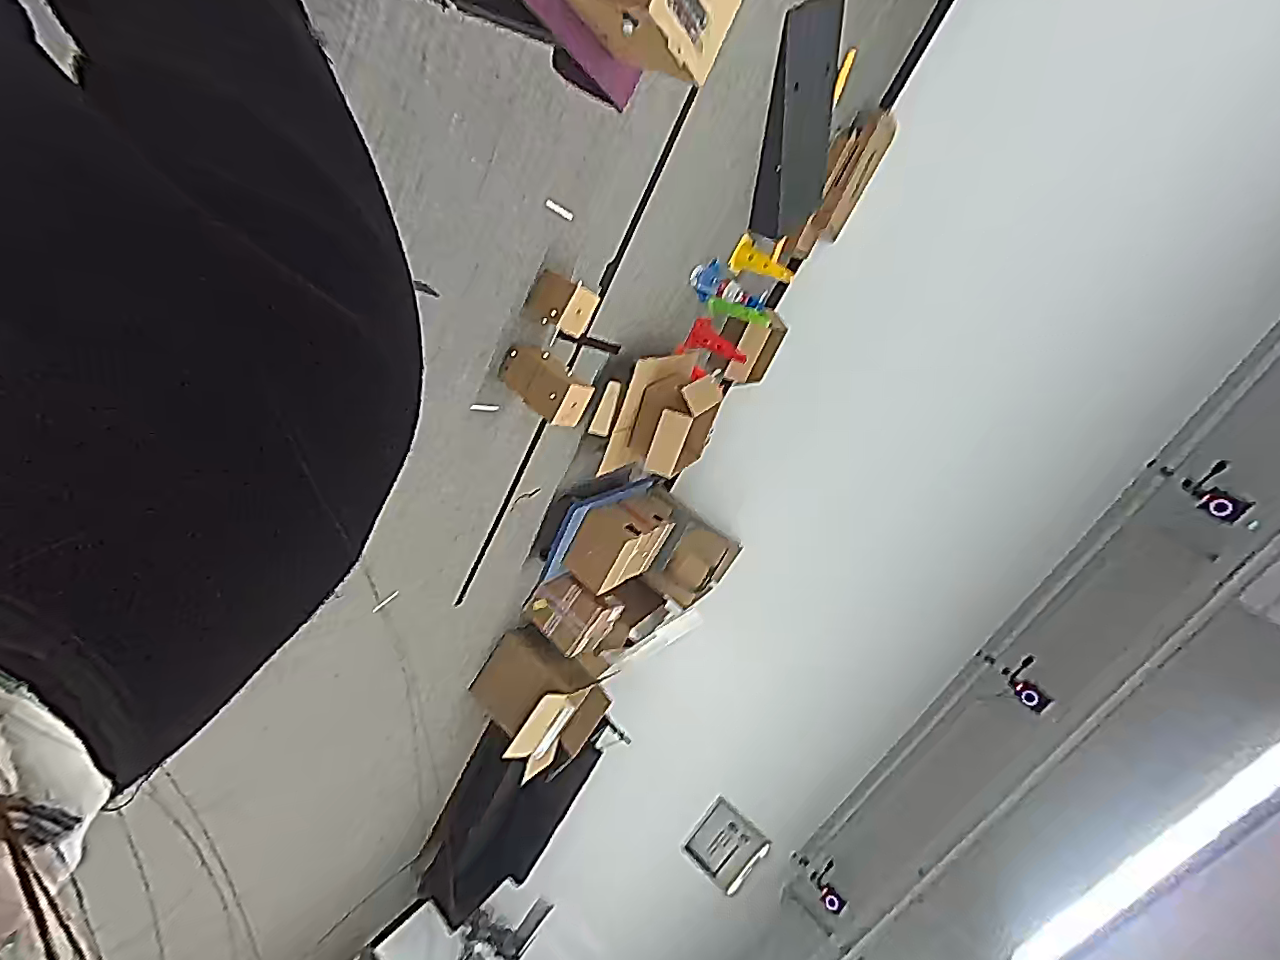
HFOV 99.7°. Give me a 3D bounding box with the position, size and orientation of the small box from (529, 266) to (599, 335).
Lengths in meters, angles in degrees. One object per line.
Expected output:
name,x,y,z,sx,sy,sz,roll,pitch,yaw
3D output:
small box,-0.293,-0.688,2.070,0.179,0.176,0.168,-58,159,13

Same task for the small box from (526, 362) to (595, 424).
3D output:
small box,-0.314,-0.339,2.106,0.179,0.176,0.168,-59,158,17

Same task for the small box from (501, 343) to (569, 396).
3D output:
small box,-0.427,-0.437,2.178,0.179,0.176,0.168,-11,134,-62
